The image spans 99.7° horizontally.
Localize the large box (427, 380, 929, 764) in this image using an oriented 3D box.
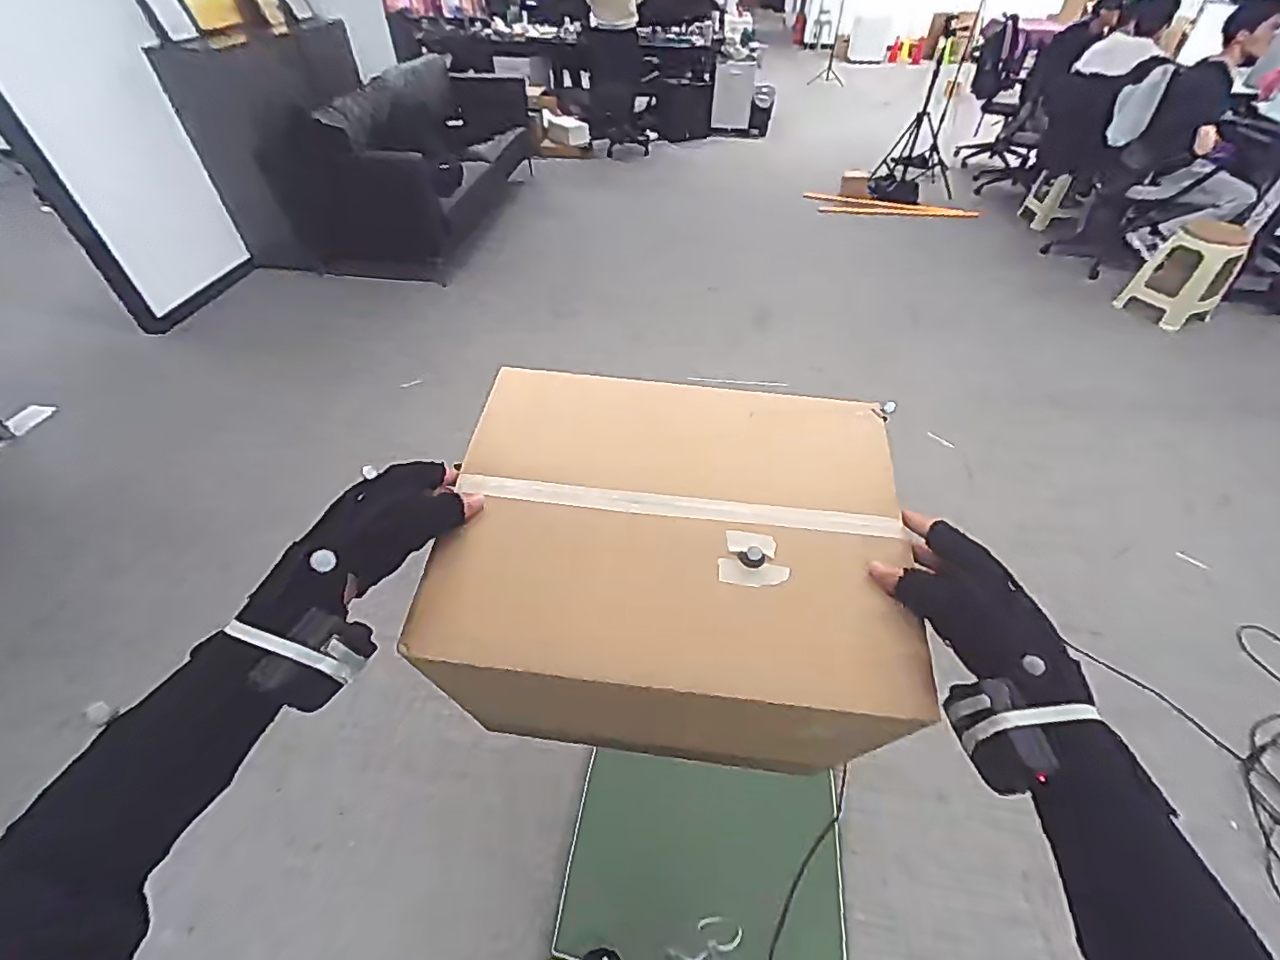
[{"bbox_3d":[0.035,0.117,0.625,0.408,0.320,0.320,6,56,2],"label":"large box"}]
